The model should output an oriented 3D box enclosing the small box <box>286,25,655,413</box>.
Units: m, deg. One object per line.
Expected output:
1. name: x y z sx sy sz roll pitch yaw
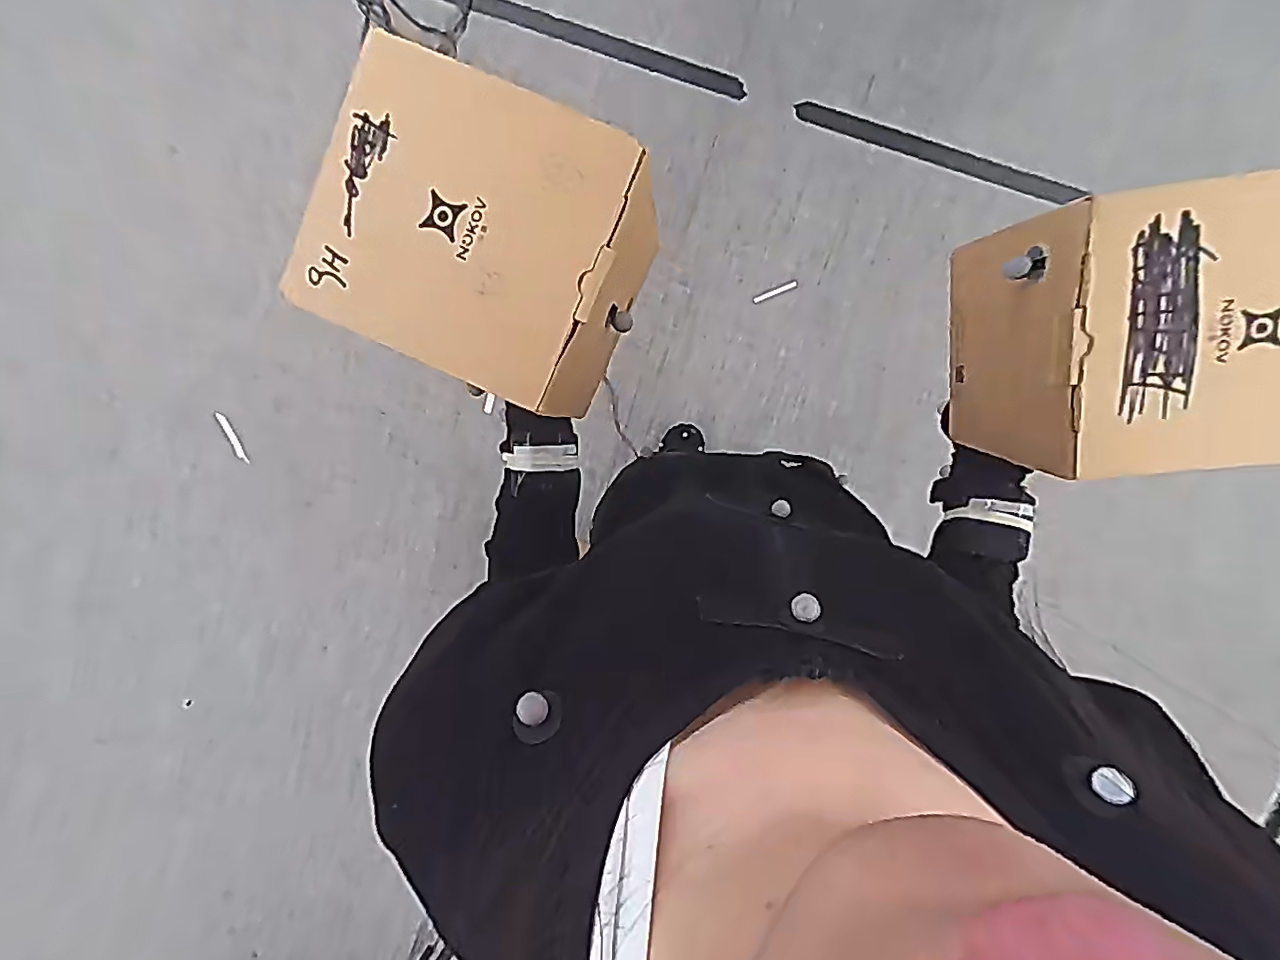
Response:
1. small box: -0.098 -0.159 0.394 0.179 0.176 0.168 24 97 0
